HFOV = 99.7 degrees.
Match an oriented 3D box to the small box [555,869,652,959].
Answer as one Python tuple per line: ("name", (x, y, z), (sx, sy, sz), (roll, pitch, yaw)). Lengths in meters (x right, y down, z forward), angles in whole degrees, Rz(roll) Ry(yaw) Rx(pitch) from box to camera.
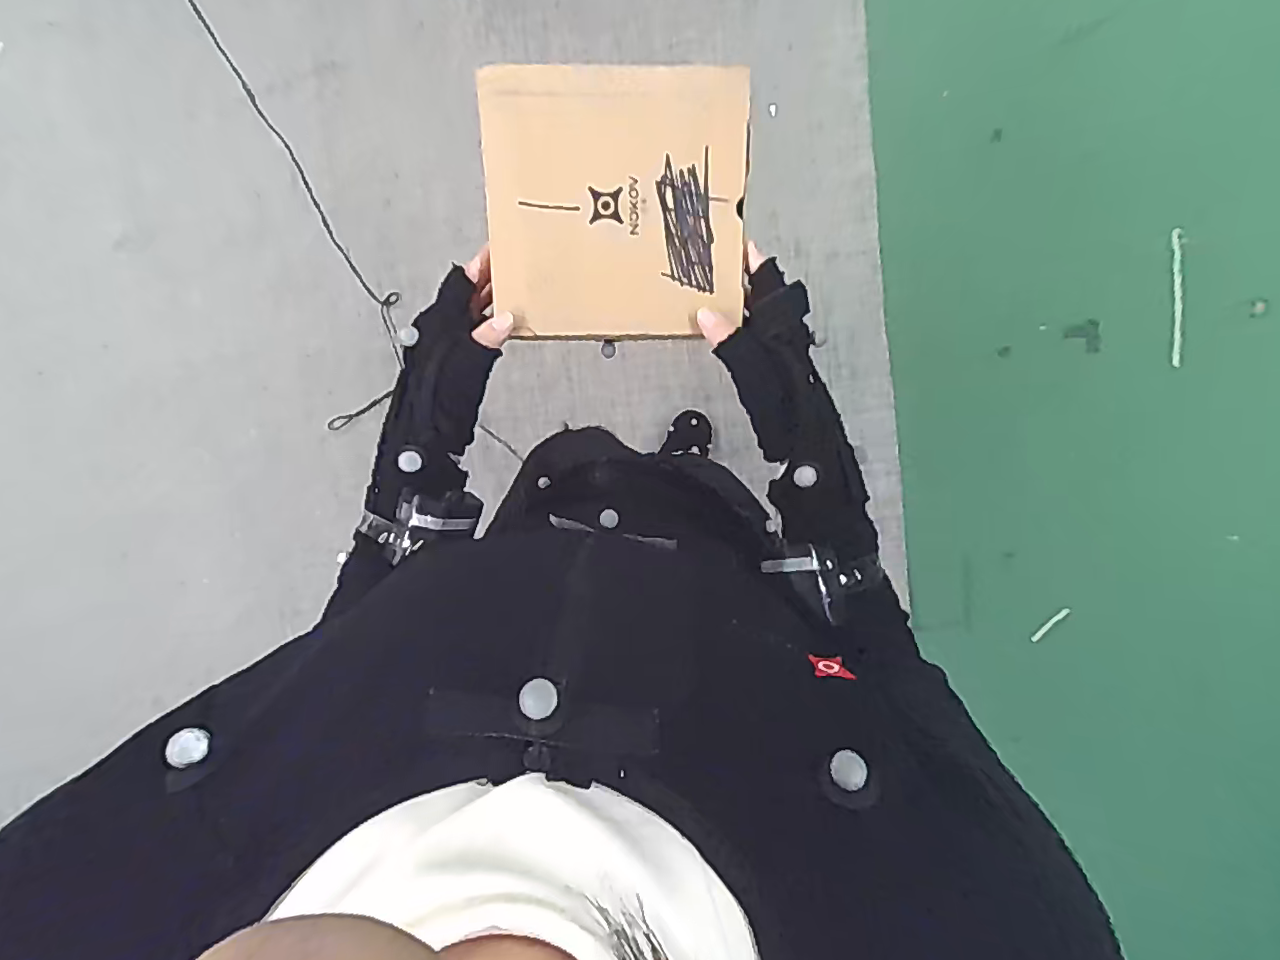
("small box", (-0.070, 0.981, 1.170), (0.179, 0.176, 0.168), (-7, 95, 8))
